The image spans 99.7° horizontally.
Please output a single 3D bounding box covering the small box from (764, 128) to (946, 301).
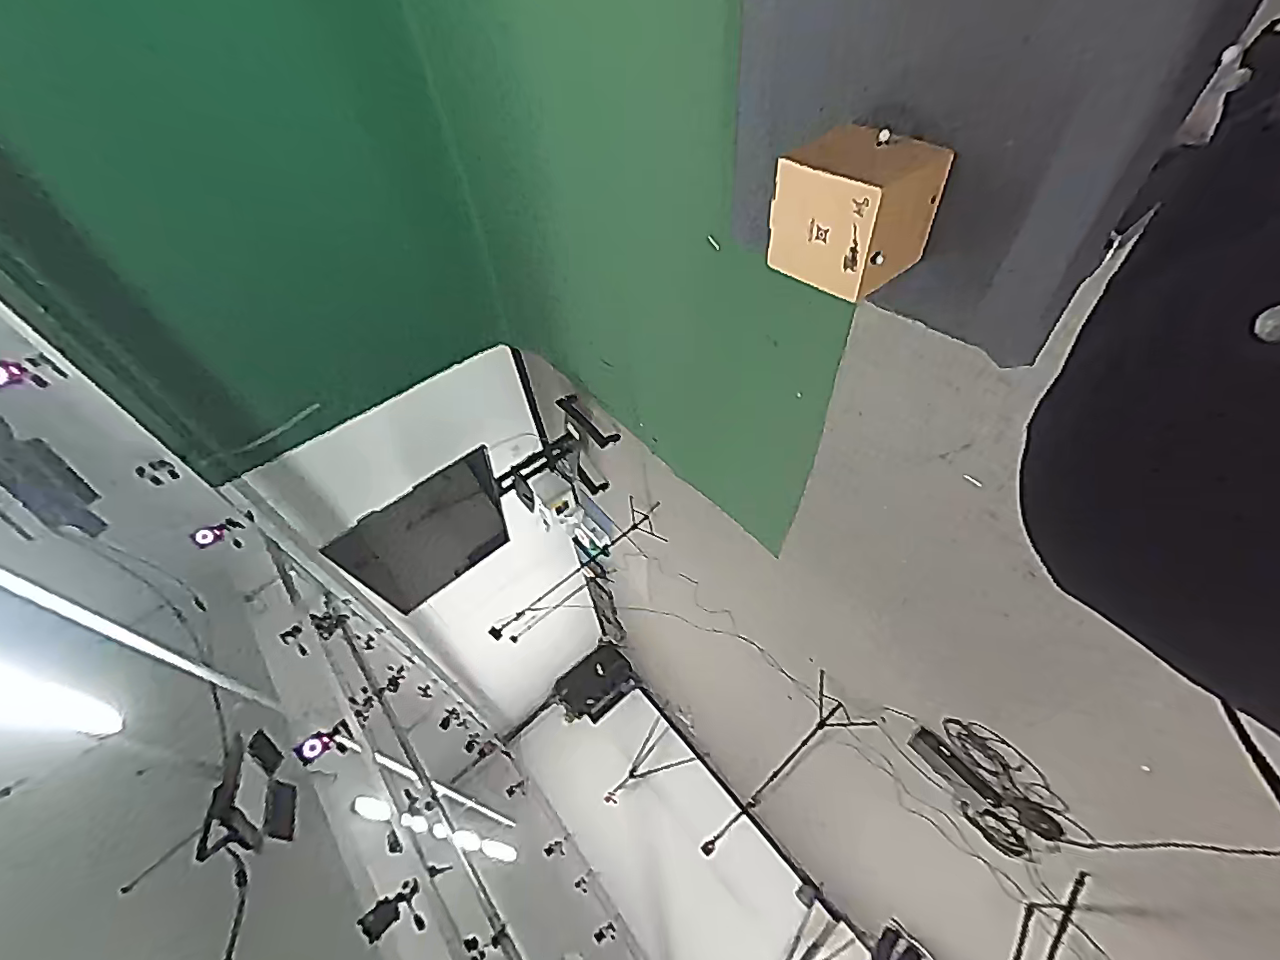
[{"bbox_3d":[0.316,-0.408,0.821,0.179,0.176,0.168,41,156,33],"label":"small box"}]
